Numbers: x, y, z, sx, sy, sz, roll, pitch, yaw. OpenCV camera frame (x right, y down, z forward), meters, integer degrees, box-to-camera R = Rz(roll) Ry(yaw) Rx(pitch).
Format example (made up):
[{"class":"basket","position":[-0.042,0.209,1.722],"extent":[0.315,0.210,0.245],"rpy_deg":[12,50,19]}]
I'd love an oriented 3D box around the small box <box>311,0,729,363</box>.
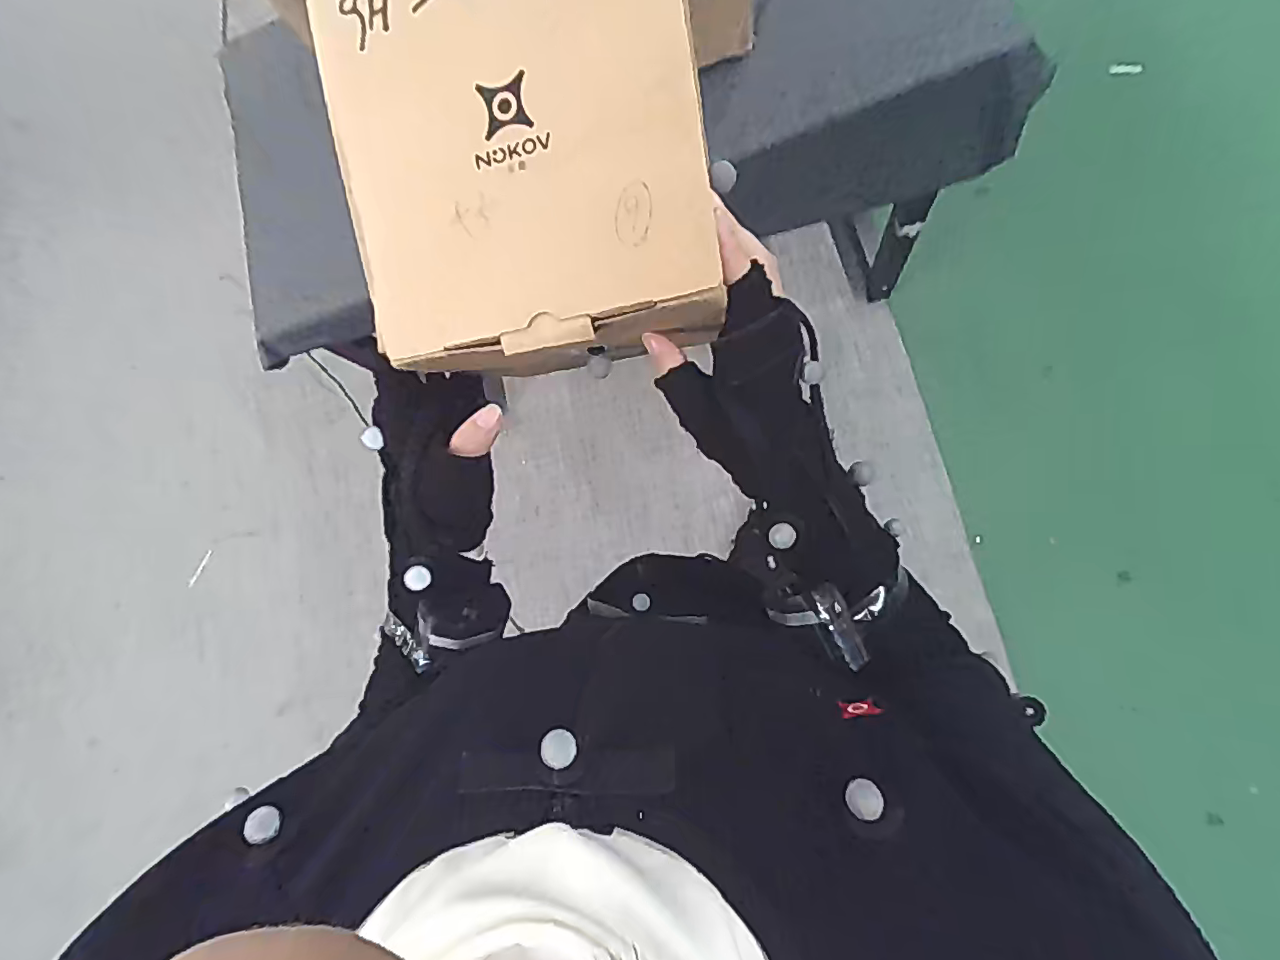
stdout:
[{"class":"small box","position":[-0.042,-0.168,0.317],"extent":[0.168,0.176,0.179],"rpy_deg":[-8,98,12]}]
